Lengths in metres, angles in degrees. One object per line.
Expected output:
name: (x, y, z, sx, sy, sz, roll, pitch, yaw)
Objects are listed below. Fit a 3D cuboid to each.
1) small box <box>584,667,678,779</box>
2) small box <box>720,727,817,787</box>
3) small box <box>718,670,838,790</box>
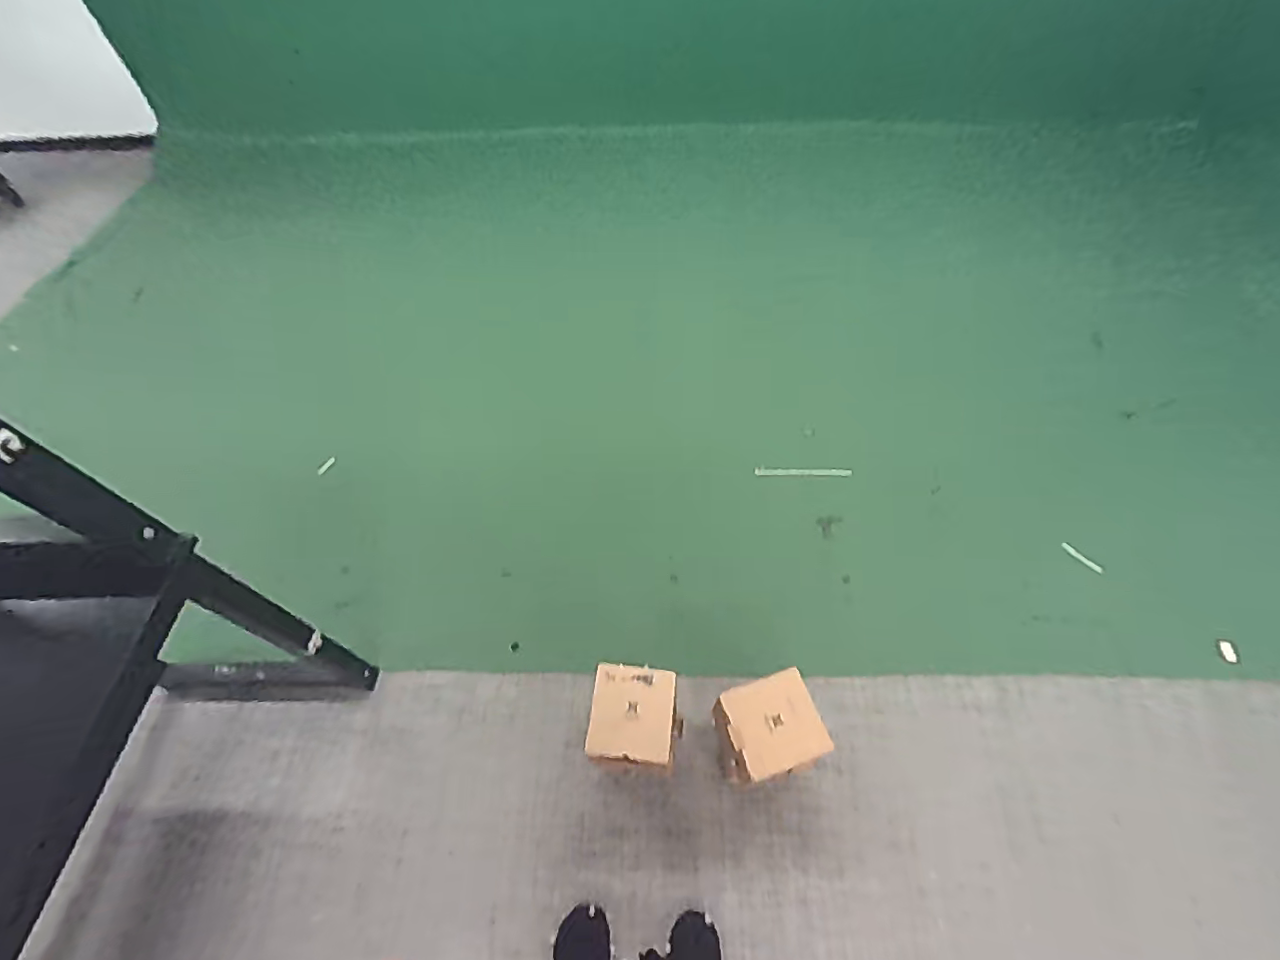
small box: (-0.009, 0.509, 1.123, 0.168, 0.176, 0.179, 4, 56, 7)
small box: (0.283, 0.600, 1.246, 0.179, 0.176, 0.168, -6, 56, -2)
small box: (0.269, 0.517, 1.107, 0.179, 0.176, 0.168, -17, 58, -10)
